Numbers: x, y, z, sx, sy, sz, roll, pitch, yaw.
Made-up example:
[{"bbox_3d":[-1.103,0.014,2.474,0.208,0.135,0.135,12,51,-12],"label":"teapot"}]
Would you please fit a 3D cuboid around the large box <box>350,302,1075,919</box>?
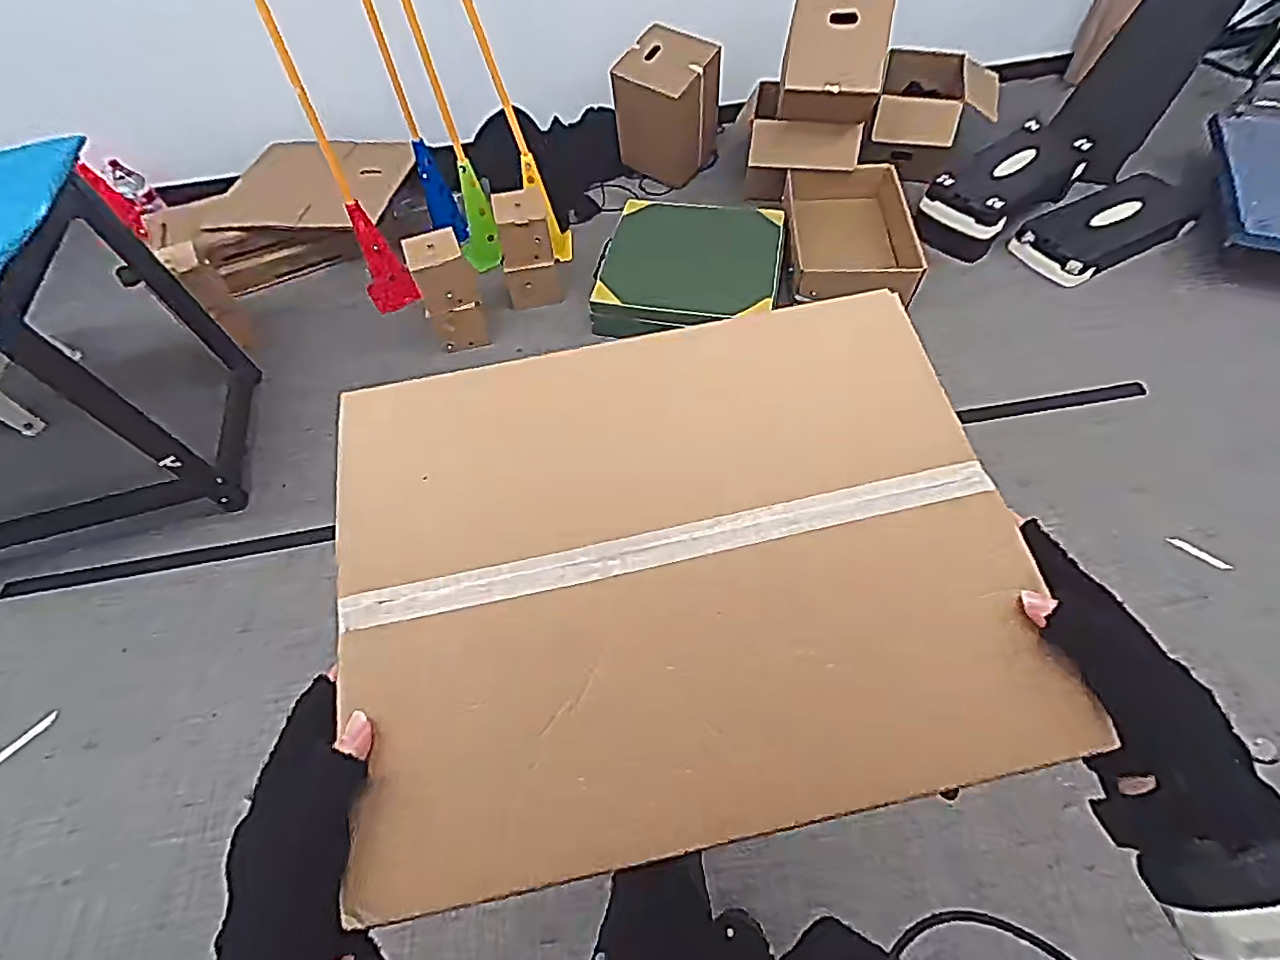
[{"bbox_3d":[0.025,0.099,0.480,0.408,0.320,0.320,-12,67,-2],"label":"large box"}]
